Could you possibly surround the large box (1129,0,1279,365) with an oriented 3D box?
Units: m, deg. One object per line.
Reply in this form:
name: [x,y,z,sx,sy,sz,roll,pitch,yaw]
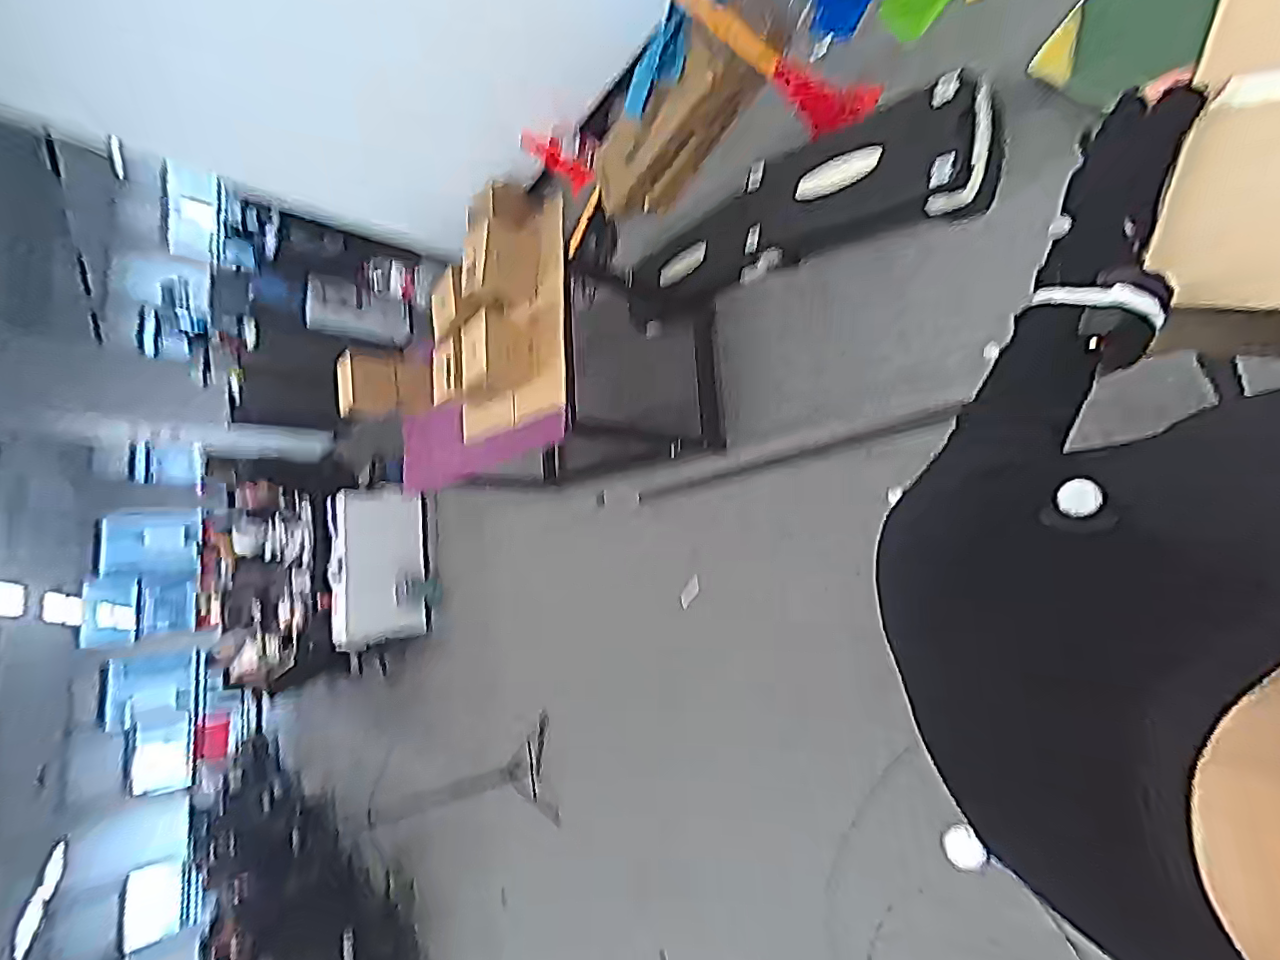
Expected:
large box: [0.689,-0.252,0.419,0.408,0.320,0.320,21,107,41]
